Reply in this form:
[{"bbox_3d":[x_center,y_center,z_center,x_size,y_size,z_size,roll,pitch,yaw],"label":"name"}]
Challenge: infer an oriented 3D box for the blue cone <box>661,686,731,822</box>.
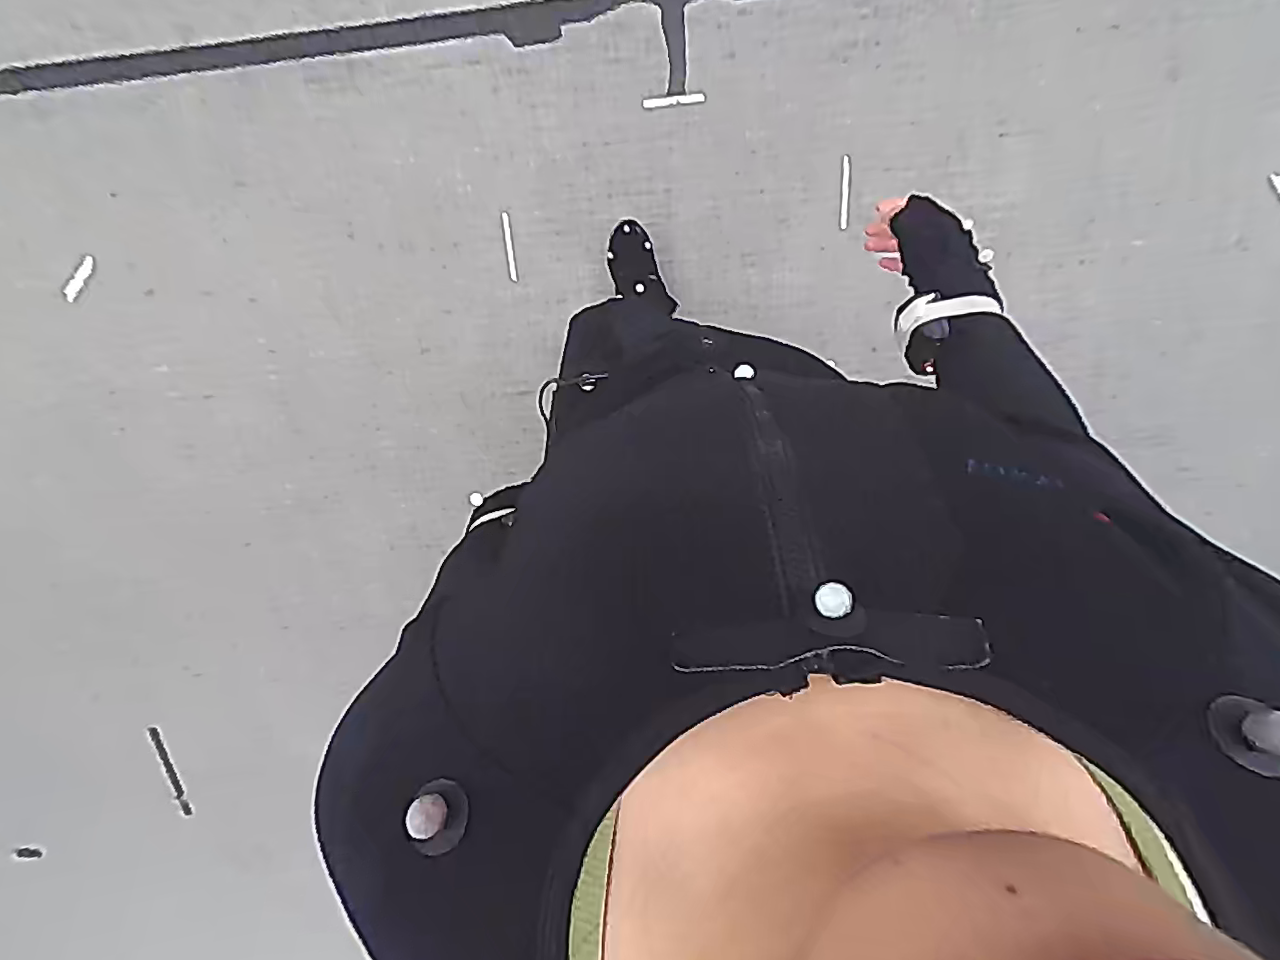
[{"bbox_3d":[0.181,0.815,1.580,0.192,0.380,0.193,28,108,-10],"label":"blue cone"}]
